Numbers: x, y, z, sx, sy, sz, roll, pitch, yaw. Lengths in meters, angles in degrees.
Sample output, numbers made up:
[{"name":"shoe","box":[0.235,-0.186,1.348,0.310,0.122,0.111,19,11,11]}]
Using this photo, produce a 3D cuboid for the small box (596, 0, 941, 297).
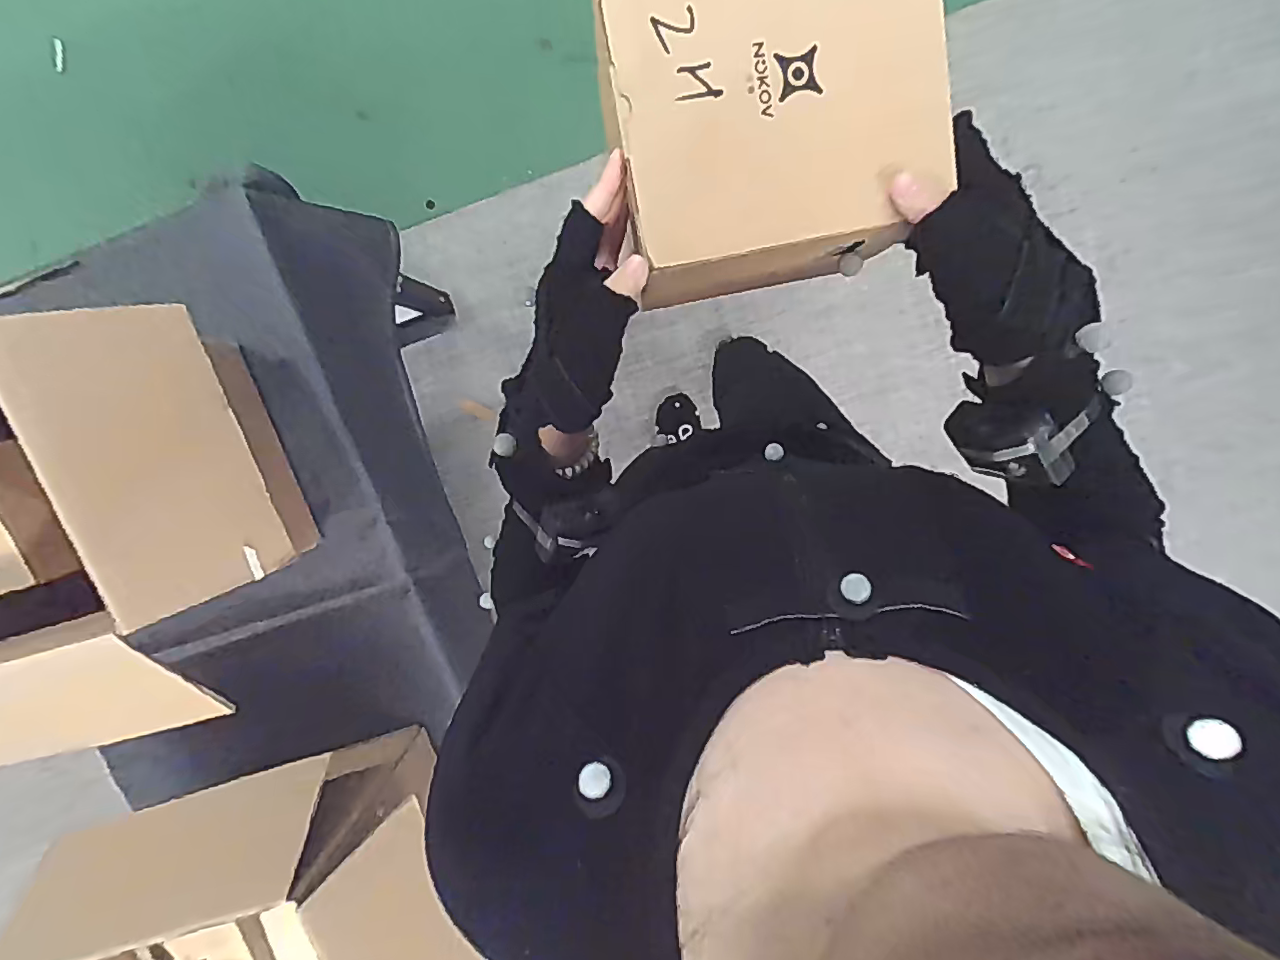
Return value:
[{"name":"small box","box":[0.067,-0.231,0.365,0.179,0.176,0.168,-10,100,-1]}]
